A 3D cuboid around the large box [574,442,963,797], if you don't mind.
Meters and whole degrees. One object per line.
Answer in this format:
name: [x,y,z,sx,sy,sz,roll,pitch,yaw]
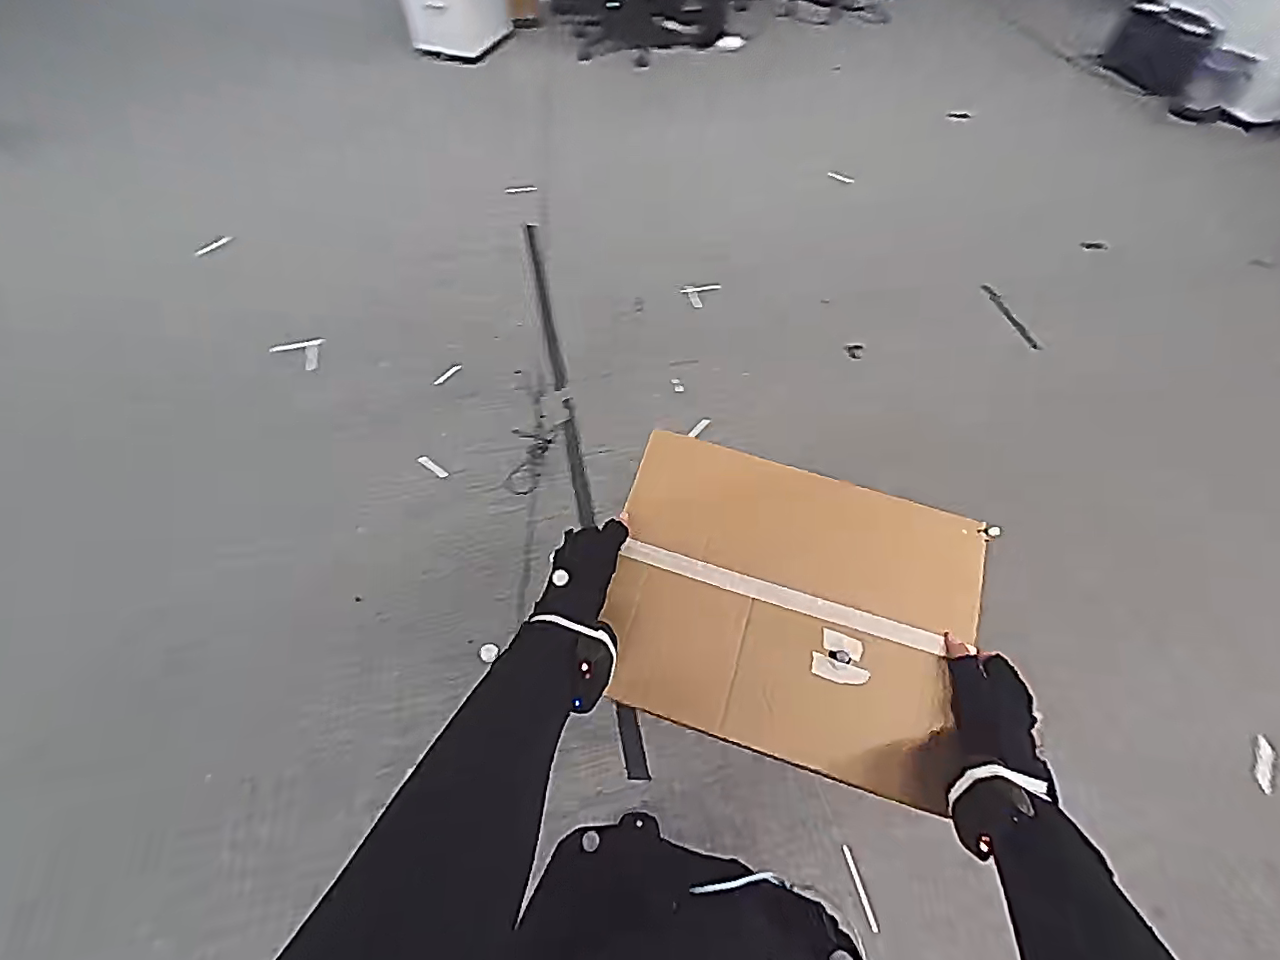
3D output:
large box: [0.154,0.191,0.752,0.408,0.320,0.320,16,69,5]
